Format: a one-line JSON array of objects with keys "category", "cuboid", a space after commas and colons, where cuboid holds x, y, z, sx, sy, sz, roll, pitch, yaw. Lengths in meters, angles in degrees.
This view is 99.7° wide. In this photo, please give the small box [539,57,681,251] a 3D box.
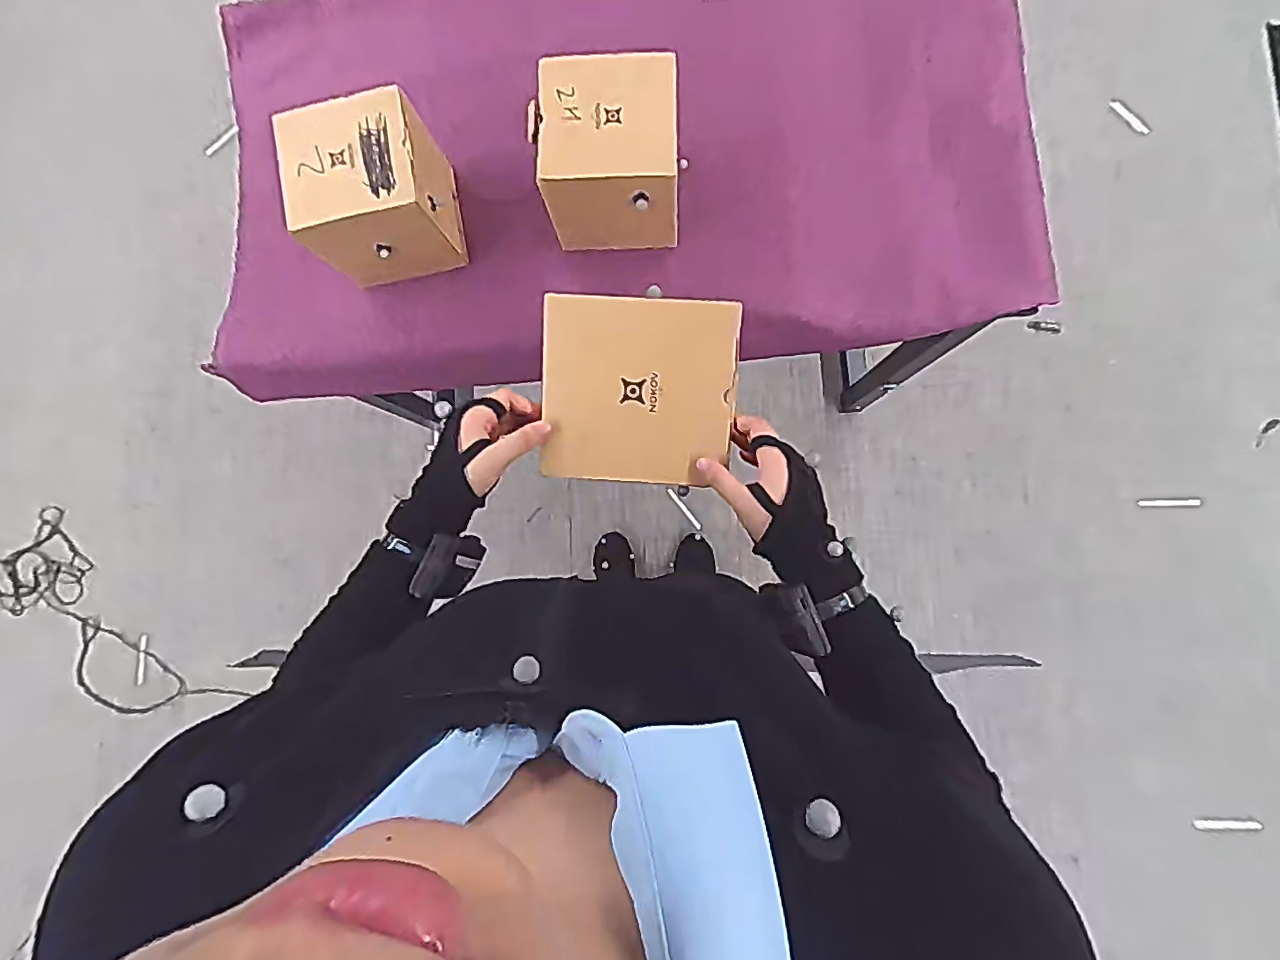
[{"category": "small box", "cuboid": [-0.033, -0.437, 0.750, 0.179, 0.176, 0.168, 0, 83, 4]}]

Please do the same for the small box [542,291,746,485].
[{"category": "small box", "cuboid": [0.004, -0.090, 0.562, 0.179, 0.176, 0.168, 3, 97, 1]}]
